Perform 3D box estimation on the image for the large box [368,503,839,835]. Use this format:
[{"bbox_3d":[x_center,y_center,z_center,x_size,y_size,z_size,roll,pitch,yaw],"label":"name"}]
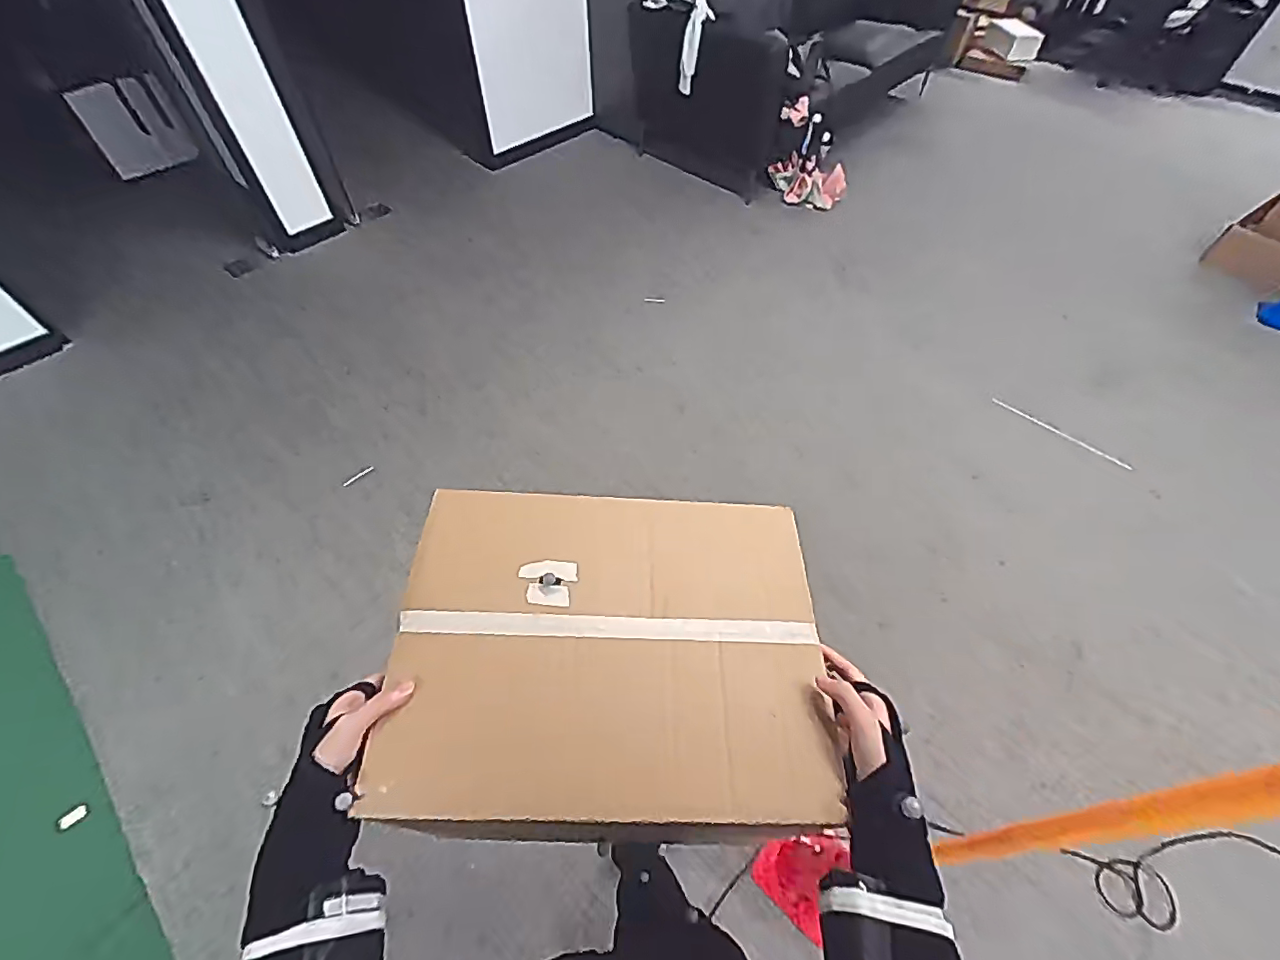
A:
[{"bbox_3d":[-0.034,0.244,0.658,0.408,0.320,0.320,3,53,-3],"label":"large box"}]
